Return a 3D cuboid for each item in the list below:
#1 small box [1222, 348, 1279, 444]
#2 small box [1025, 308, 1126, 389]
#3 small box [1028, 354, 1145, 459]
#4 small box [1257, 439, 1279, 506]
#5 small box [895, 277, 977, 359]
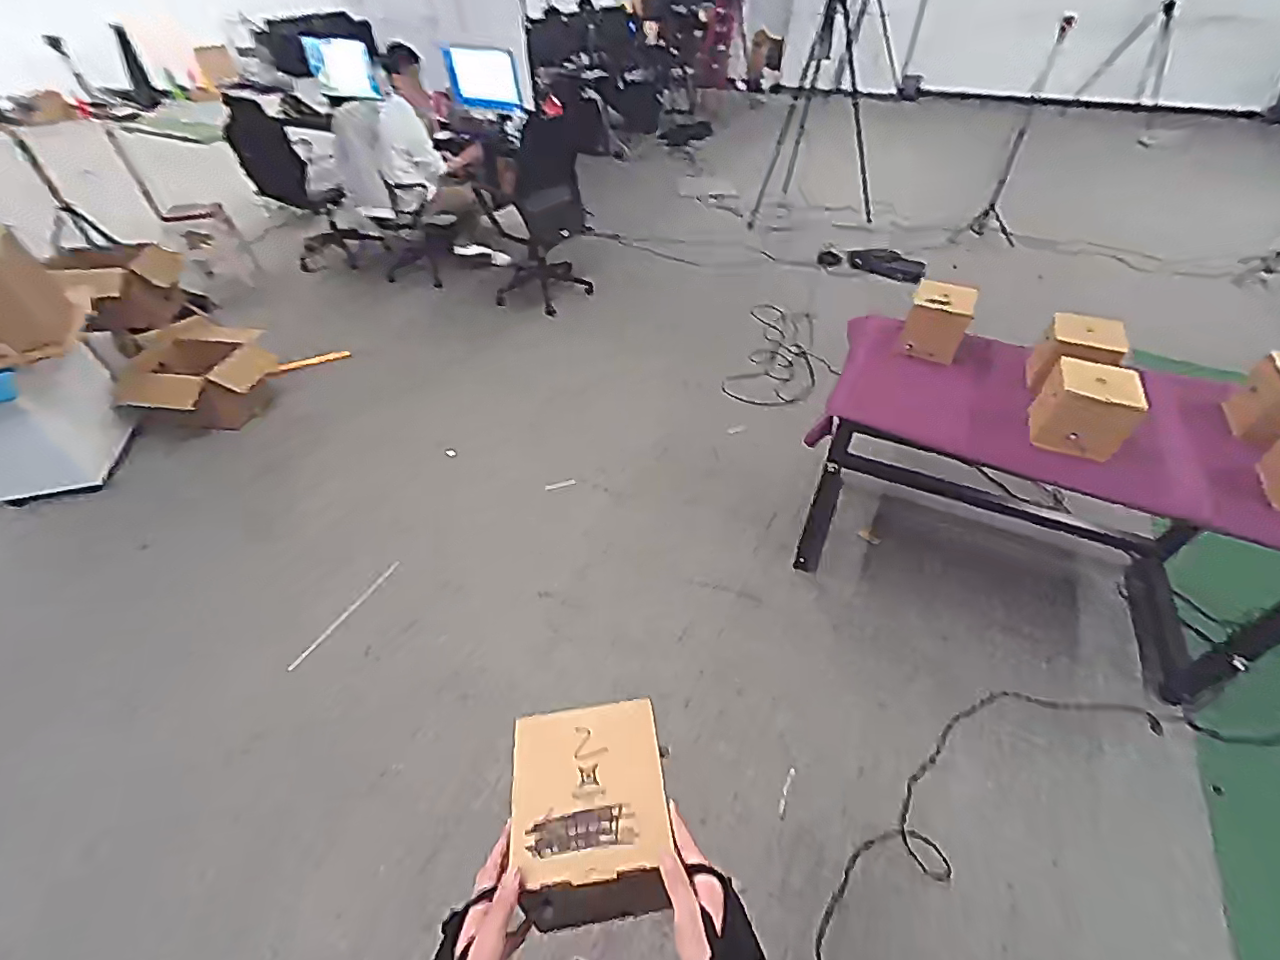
[{"bbox_3d":[1.629,-0.202,1.354,0.168,0.176,0.179,18,47,20],"label":"small box"},{"bbox_3d":[1.214,-0.355,1.521,0.168,0.176,0.179,19,49,20],"label":"small box"},{"bbox_3d":[1.099,-0.184,1.348,0.168,0.176,0.179,19,48,19],"label":"small box"},{"bbox_3d":[1.514,-0.026,1.173,0.168,0.176,0.179,19,47,21],"label":"small box"},{"bbox_3d":[0.904,-0.496,1.662,0.168,0.176,0.179,22,50,20],"label":"small box"}]
